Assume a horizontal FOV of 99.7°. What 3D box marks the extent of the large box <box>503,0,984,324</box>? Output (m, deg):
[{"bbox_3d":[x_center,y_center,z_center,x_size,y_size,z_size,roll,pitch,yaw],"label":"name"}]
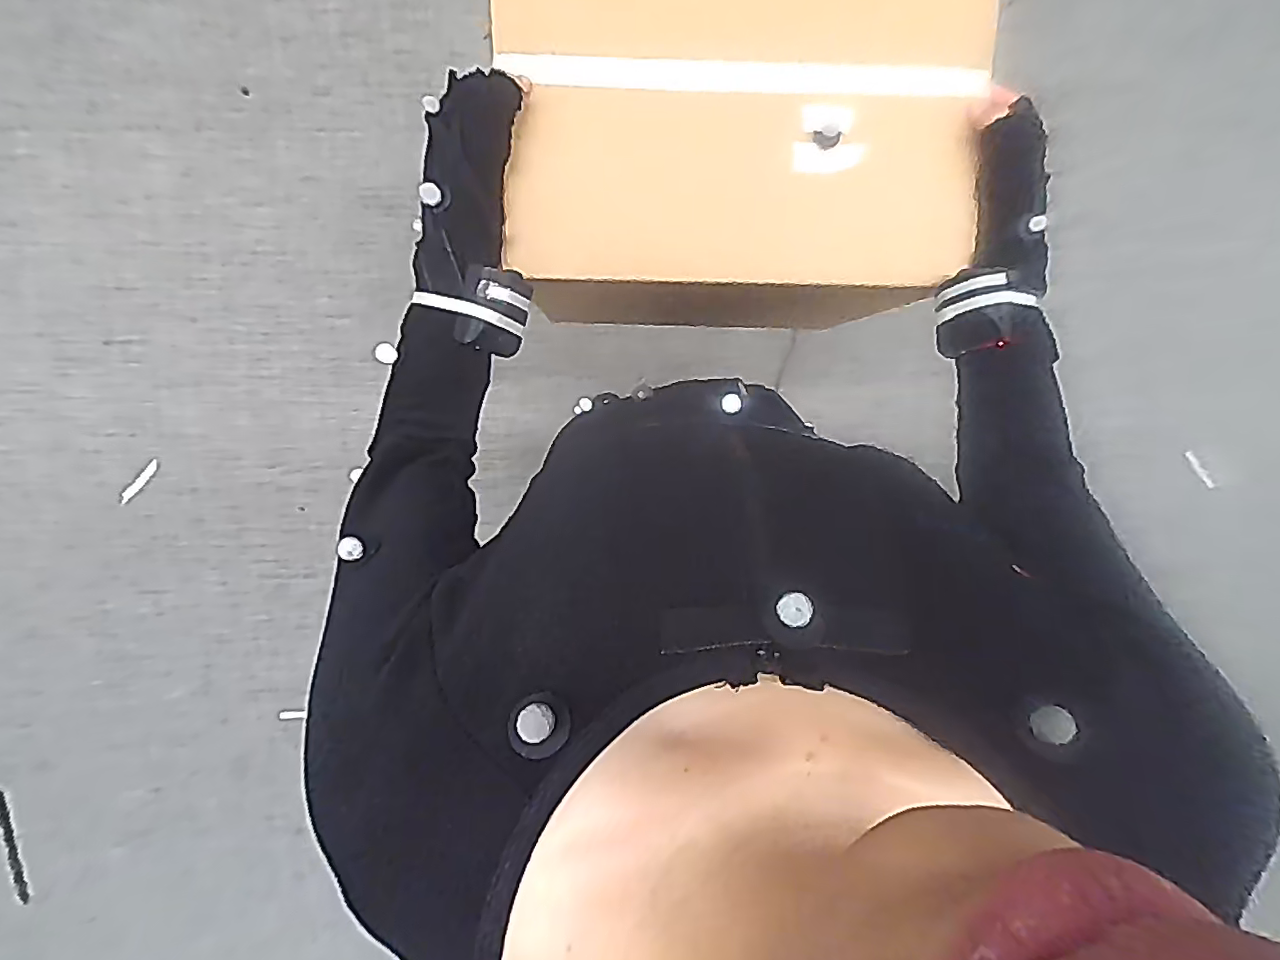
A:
[{"bbox_3d":[0.079,-0.354,0.599,0.408,0.320,0.320,0,99,-3],"label":"large box"}]
